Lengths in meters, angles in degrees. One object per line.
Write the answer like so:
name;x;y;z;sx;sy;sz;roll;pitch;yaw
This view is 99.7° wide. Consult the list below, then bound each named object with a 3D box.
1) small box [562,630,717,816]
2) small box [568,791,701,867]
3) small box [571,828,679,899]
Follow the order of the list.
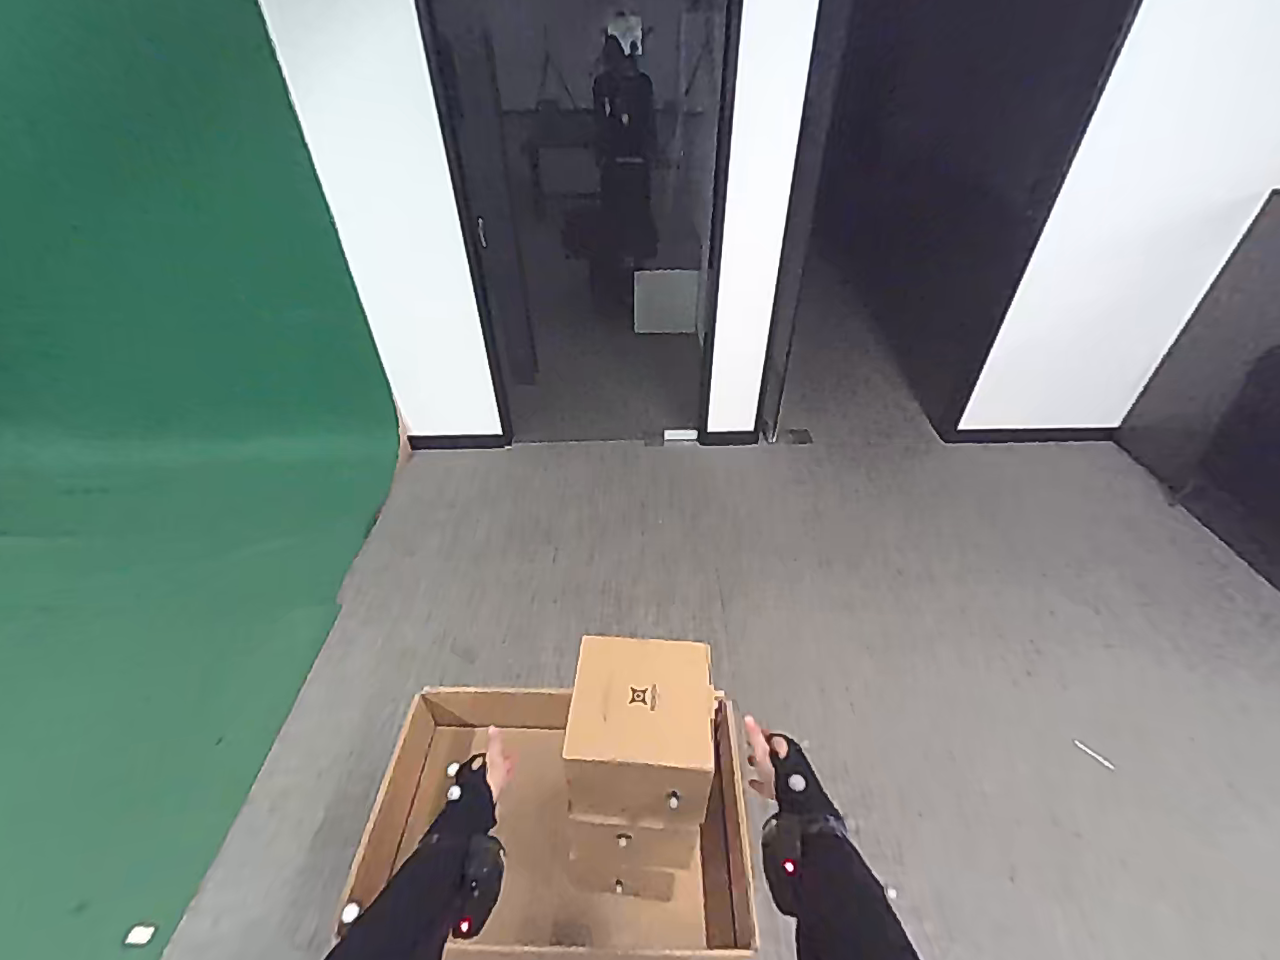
small box;0.005;0.321;0.714;0.179;0.176;0.168;2;39;4
small box;0.000;0.454;0.810;0.179;0.176;0.168;3;39;4
small box;-0.012;0.579;0.916;0.168;0.176;0.179;4;39;5
